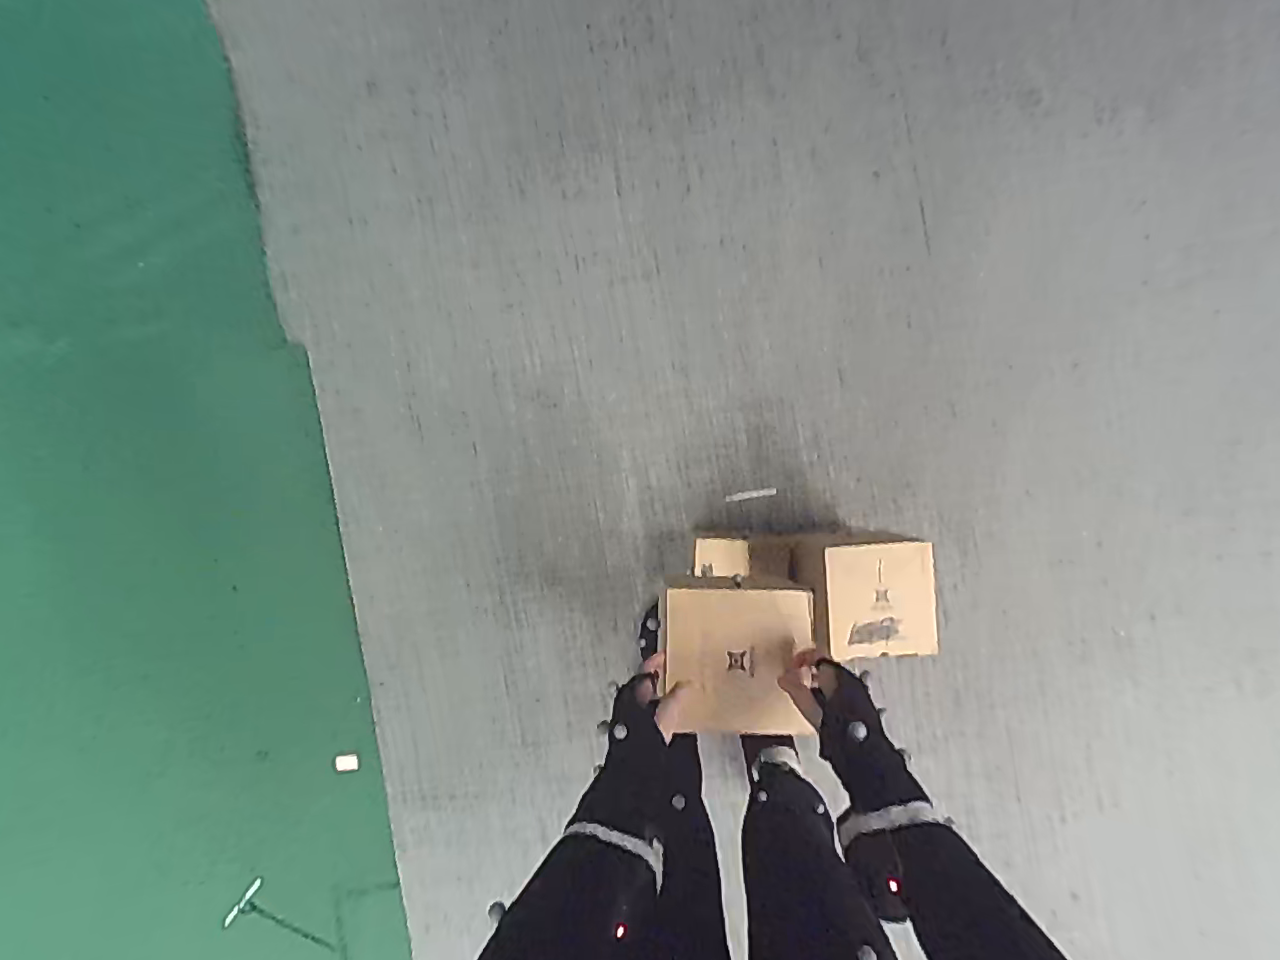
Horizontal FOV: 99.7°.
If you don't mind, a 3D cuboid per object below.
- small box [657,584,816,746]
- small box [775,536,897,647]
[{"bbox_3d":[0.115,0.227,0.703,0.179,0.176,0.168,1,85,0],"label":"small box"},{"bbox_3d":[0.374,0.208,1.064,0.168,0.176,0.179,-10,90,1],"label":"small box"}]
